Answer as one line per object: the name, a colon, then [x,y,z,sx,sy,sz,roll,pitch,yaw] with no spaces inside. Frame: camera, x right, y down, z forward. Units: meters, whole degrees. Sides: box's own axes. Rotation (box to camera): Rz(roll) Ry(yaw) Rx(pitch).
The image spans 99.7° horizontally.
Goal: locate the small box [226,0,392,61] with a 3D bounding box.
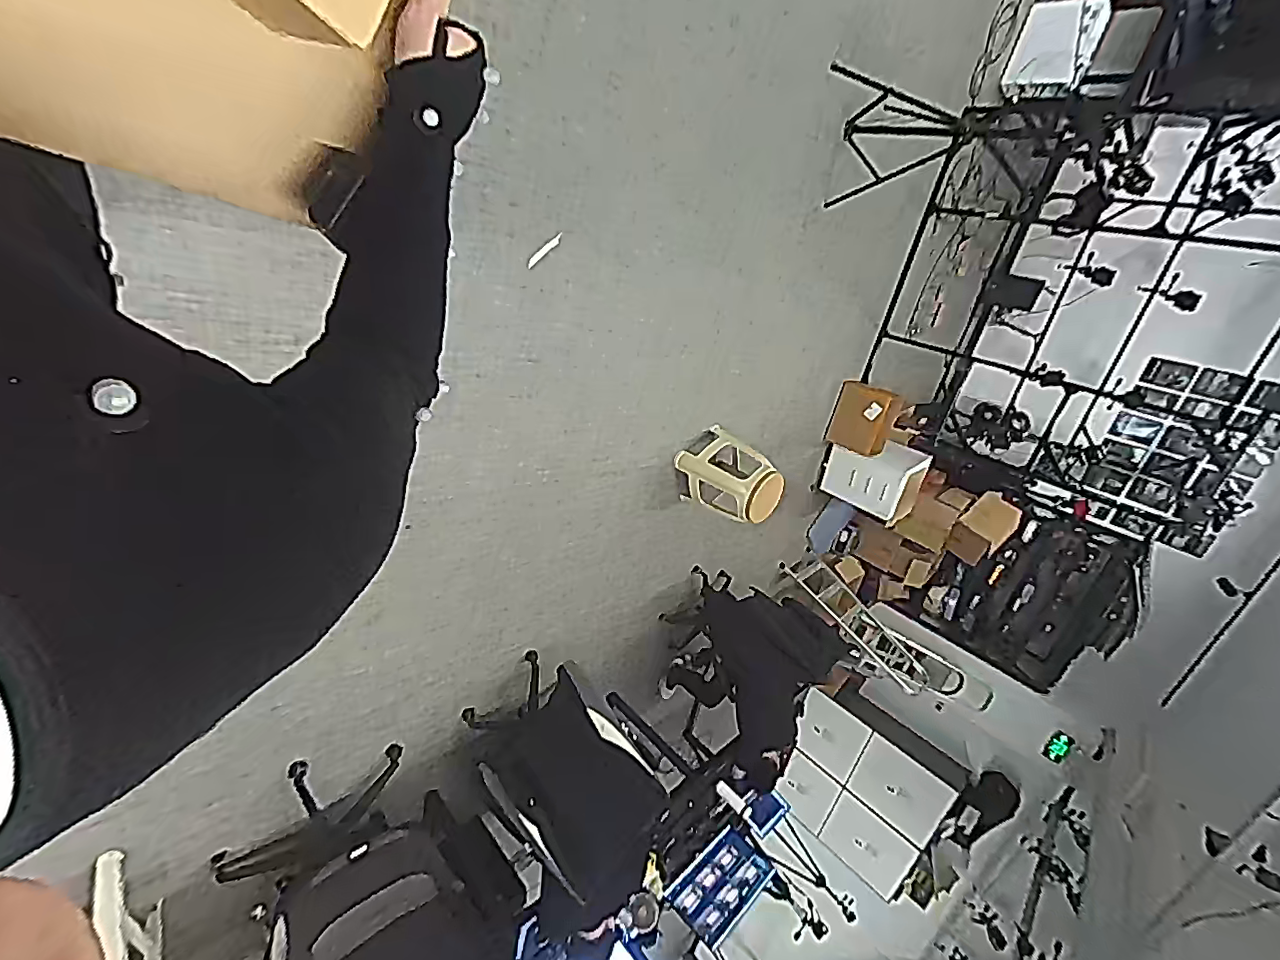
small box: [-0.230,-0.382,0.295,0.179,0.176,0.168,17,107,-54]
